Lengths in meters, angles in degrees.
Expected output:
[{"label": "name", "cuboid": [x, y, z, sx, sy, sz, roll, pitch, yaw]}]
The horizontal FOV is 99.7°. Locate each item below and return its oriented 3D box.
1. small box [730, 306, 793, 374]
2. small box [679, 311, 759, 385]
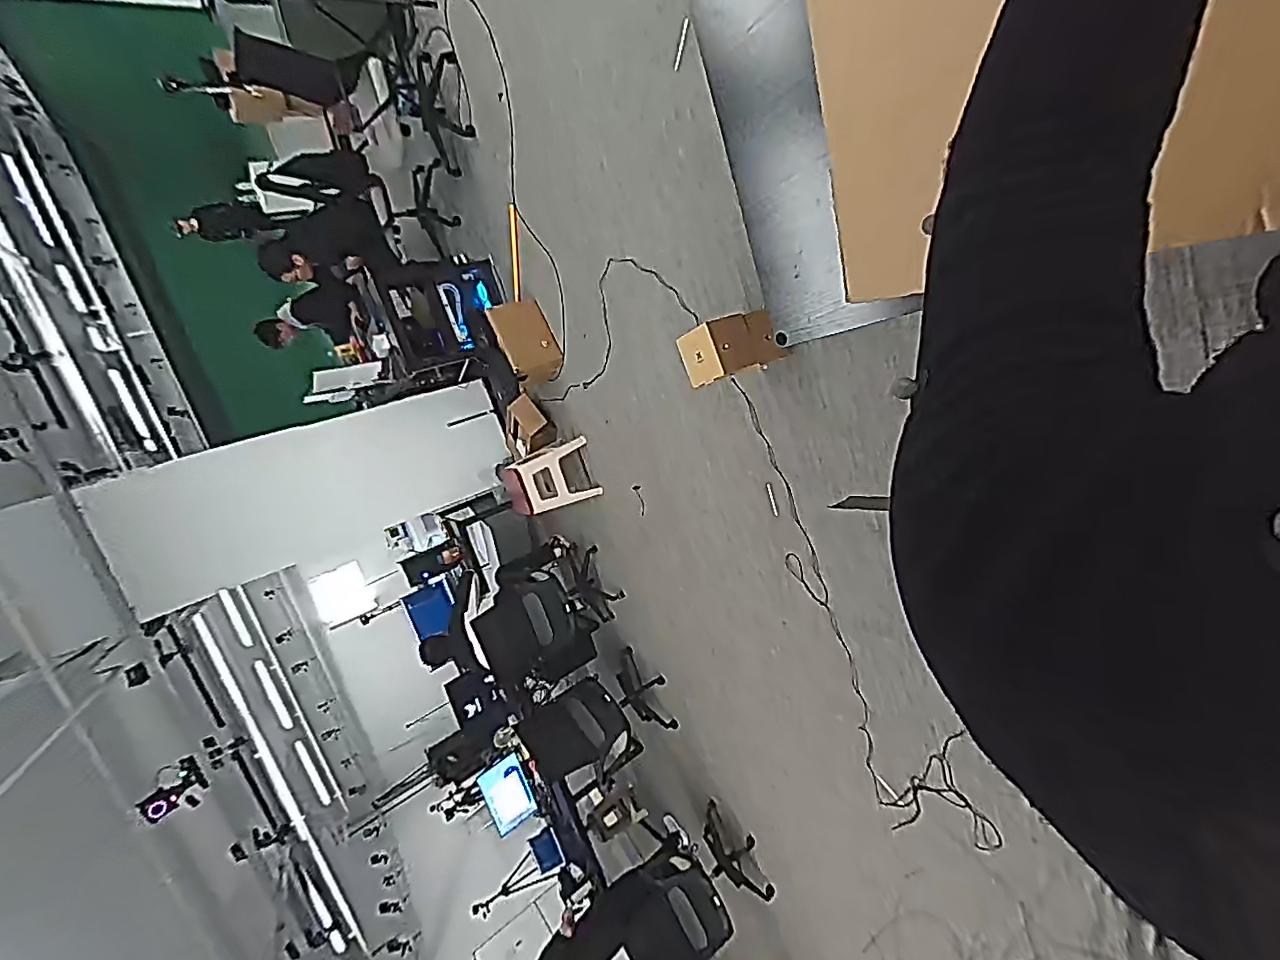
[{"label": "small box", "cuboid": [0.392, -0.483, 1.855, 0.168, 0.176, 0.179, -7, 105, 59]}, {"label": "small box", "cuboid": [0.261, -0.432, 1.773, 0.168, 0.176, 0.179, -13, 98, 58]}]
